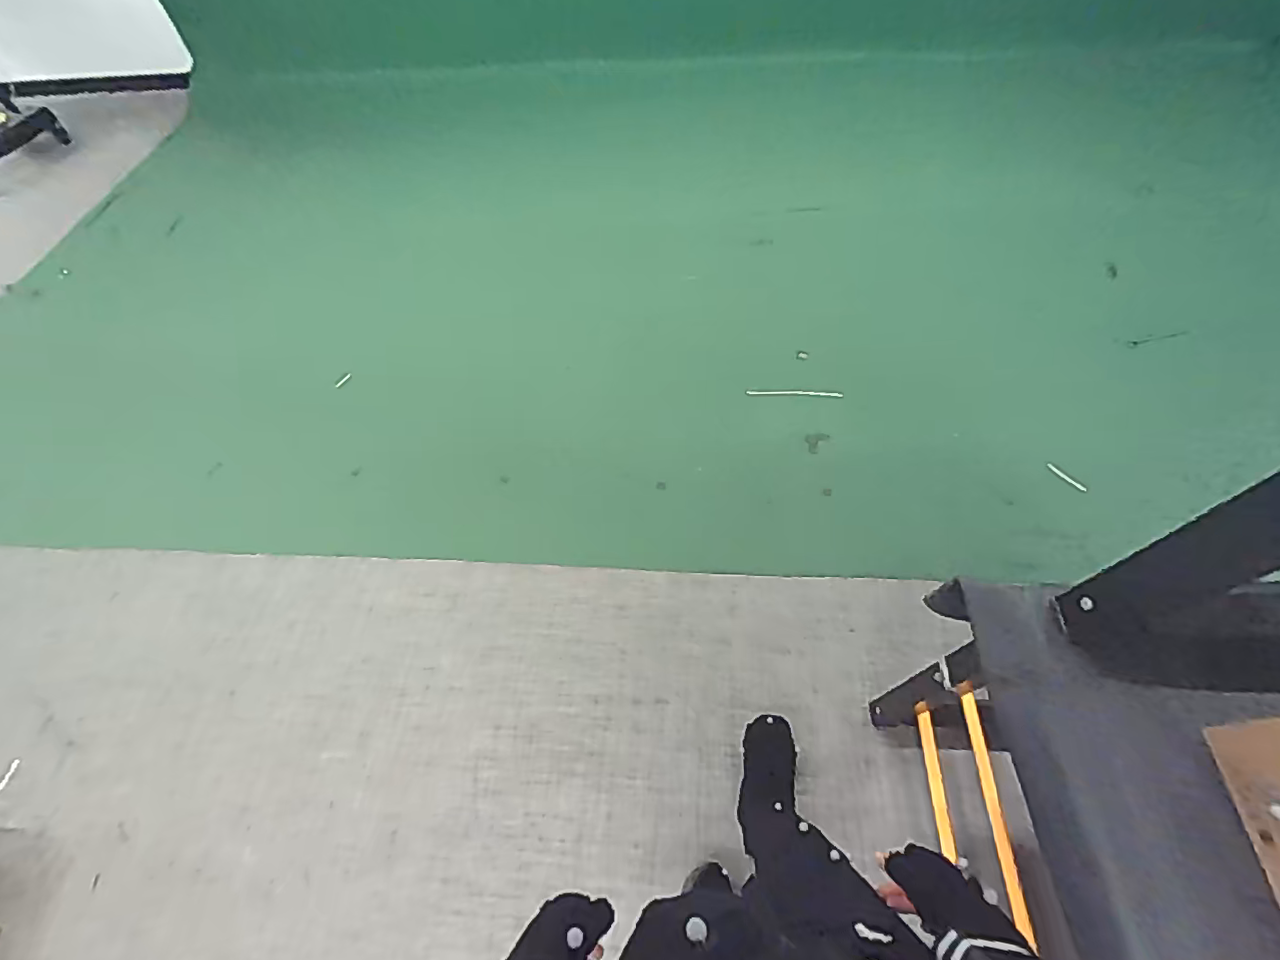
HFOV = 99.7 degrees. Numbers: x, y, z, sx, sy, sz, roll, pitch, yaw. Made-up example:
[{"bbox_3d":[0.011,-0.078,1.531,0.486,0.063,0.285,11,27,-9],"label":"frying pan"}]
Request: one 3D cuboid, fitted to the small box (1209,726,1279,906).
[{"bbox_3d":[0.707,0.315,0.490,0.179,0.176,0.168,1,58,4],"label":"small box"}]
